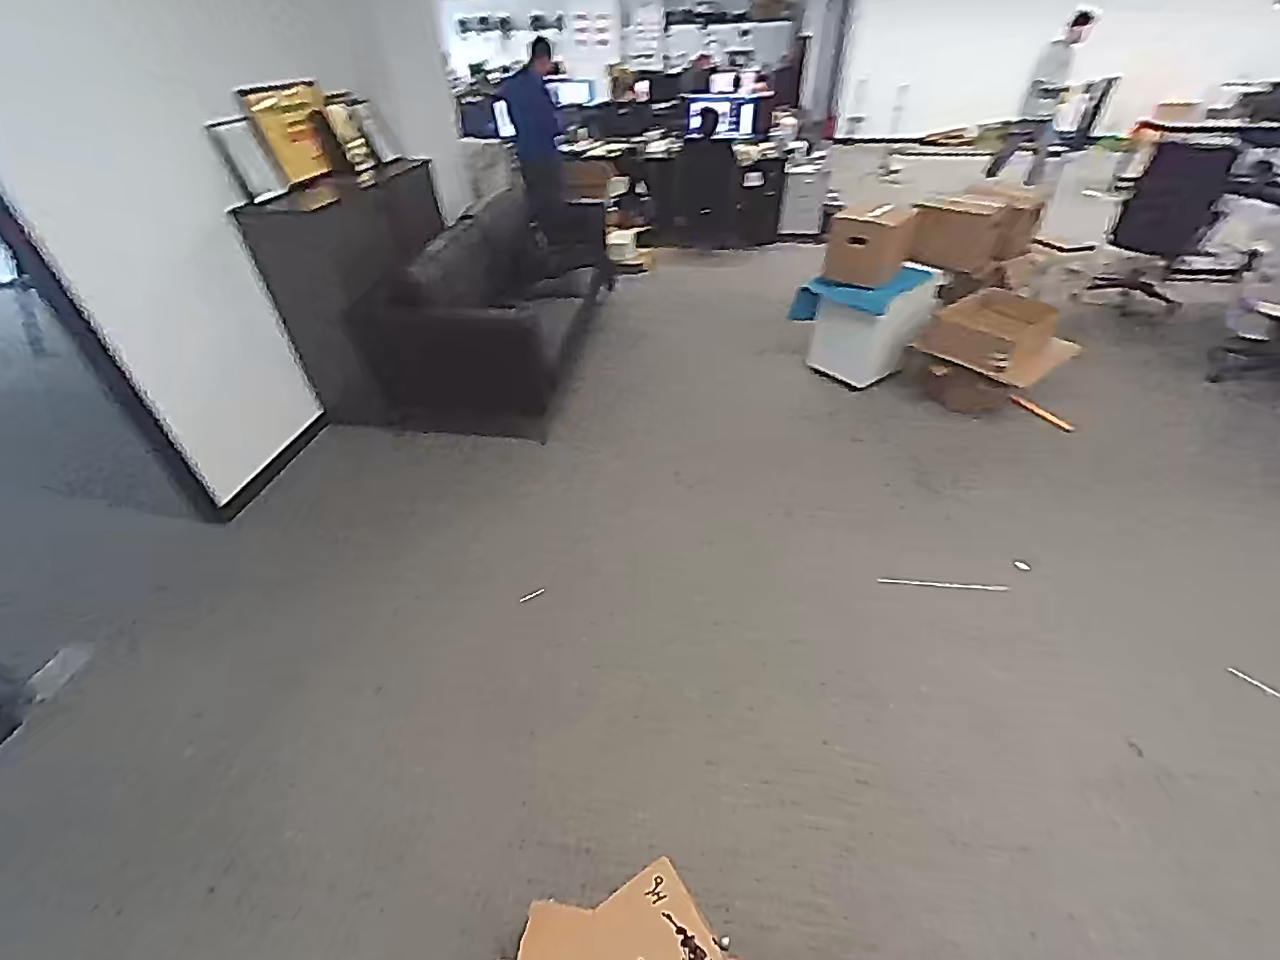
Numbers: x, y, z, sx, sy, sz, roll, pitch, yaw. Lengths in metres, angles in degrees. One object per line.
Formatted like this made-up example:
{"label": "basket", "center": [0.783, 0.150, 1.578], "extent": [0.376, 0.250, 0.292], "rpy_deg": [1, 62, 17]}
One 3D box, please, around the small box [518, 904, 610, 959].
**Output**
{"label": "small box", "center": [-0.165, 1.057, 1.175], "extent": [0.179, 0.176, 0.168], "rpy_deg": [3, 39, 7]}
